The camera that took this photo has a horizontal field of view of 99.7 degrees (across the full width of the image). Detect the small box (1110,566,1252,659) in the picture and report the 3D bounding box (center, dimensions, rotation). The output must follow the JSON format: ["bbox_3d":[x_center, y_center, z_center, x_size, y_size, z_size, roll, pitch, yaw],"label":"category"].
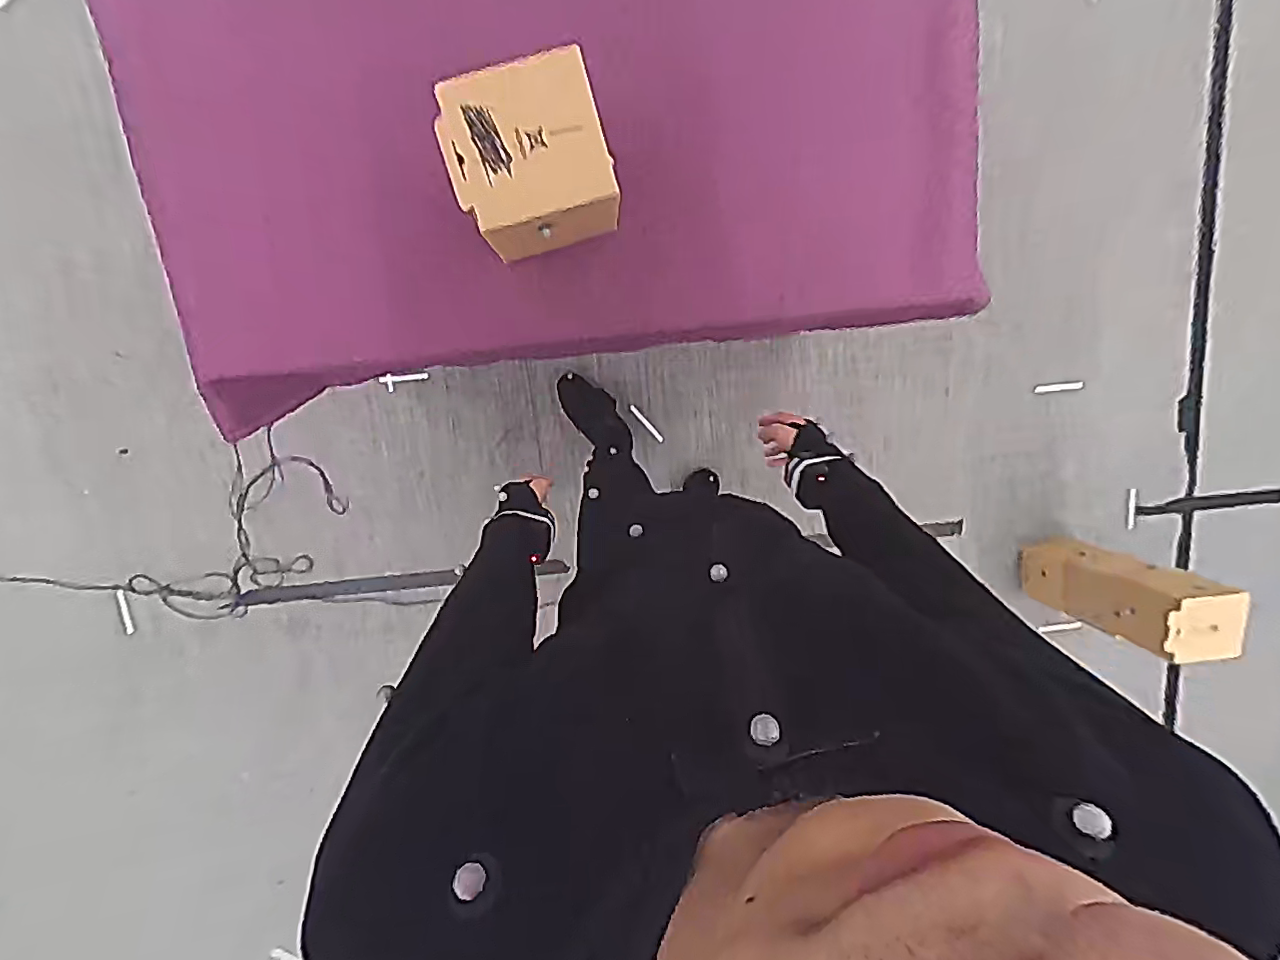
[{"bbox_3d":[1.338,0.323,1.347,0.179,0.176,0.168,-5,101,-3],"label":"small box"}]

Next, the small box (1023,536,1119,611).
[{"bbox_3d":[1.327,0.285,1.676,0.179,0.176,0.168,-10,101,-2],"label":"small box"}]

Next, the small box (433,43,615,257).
[{"bbox_3d":[-0.137,-0.410,0.706,0.179,0.176,0.168,-17,101,-1],"label":"small box"}]
